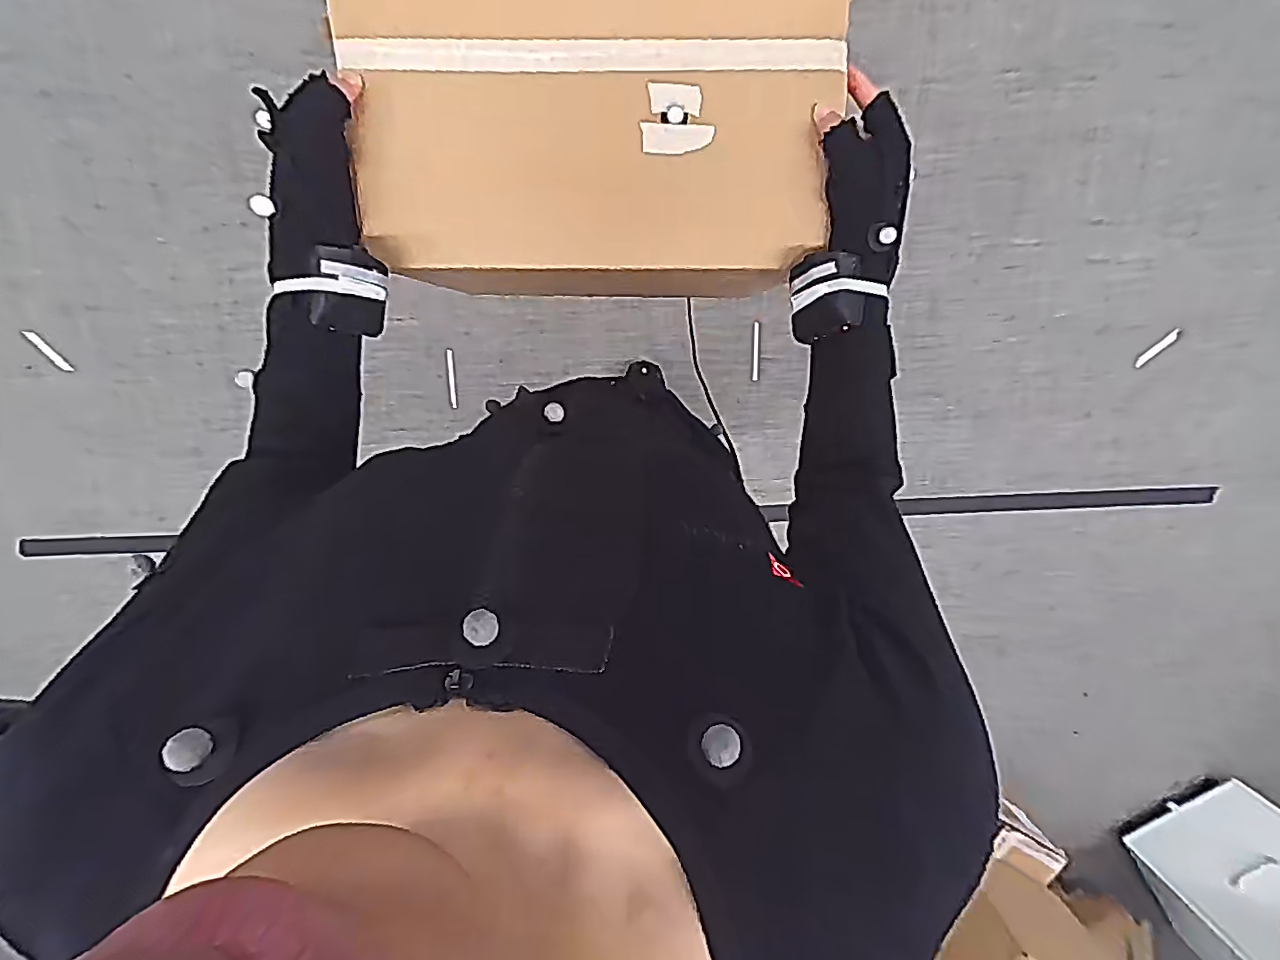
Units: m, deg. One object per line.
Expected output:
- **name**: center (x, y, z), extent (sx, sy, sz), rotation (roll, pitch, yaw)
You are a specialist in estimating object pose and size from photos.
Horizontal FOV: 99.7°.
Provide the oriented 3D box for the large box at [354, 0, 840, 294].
- **large box**: center (-0.038, -0.383, 0.594), extent (0.408, 0.320, 0.320), rotation (-1, 105, -1)
